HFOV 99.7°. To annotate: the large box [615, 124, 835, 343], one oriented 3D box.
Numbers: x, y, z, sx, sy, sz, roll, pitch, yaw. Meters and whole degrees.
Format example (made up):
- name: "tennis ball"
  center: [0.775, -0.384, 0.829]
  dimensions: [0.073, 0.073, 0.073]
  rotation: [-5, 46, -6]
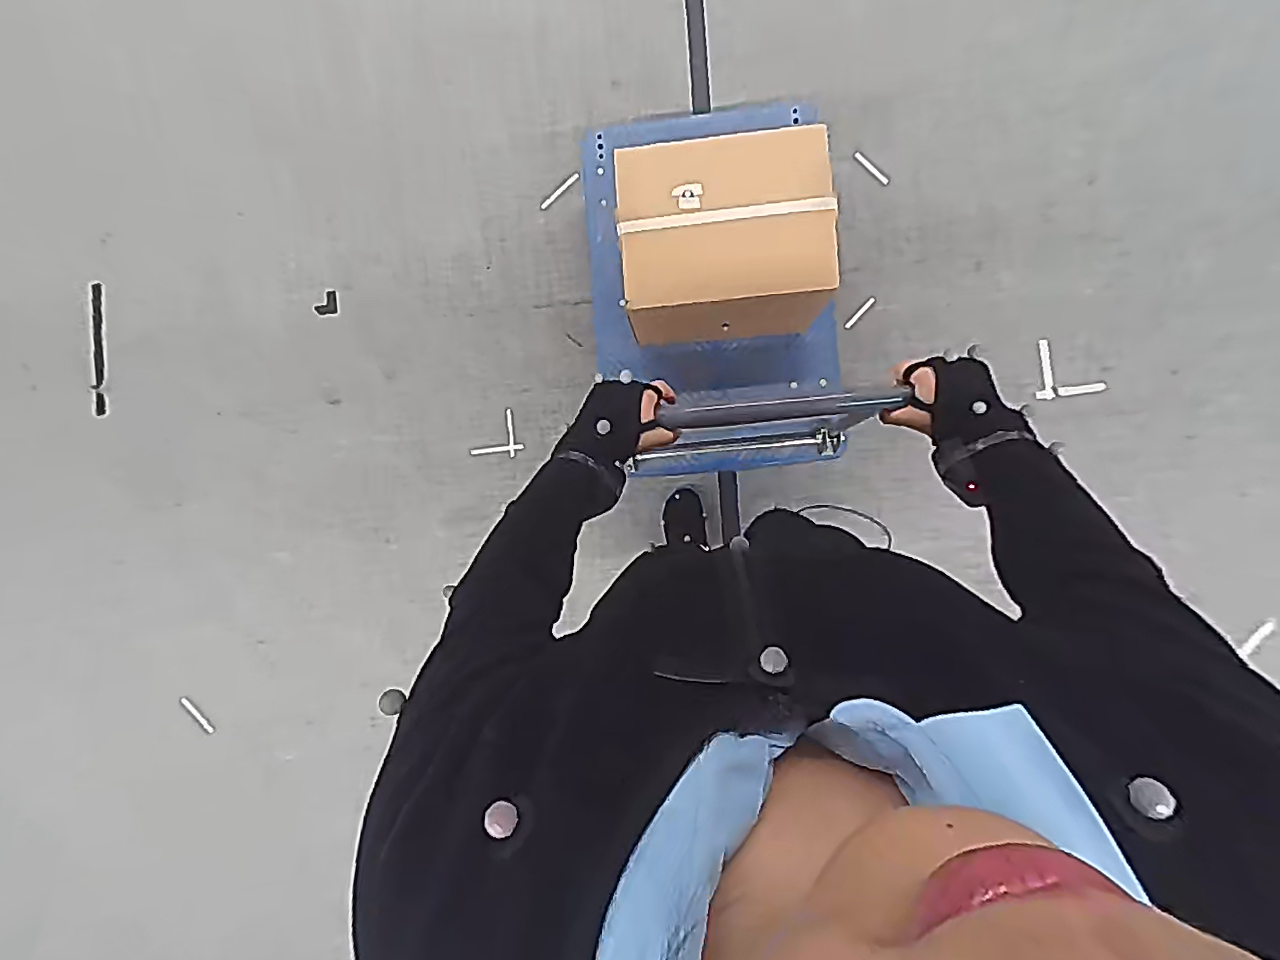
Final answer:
- name: "large box"
  center: [0.177, -0.508, 1.193]
  dimensions: [0.408, 0.320, 0.320]
  rotation: [-5, 89, 6]
